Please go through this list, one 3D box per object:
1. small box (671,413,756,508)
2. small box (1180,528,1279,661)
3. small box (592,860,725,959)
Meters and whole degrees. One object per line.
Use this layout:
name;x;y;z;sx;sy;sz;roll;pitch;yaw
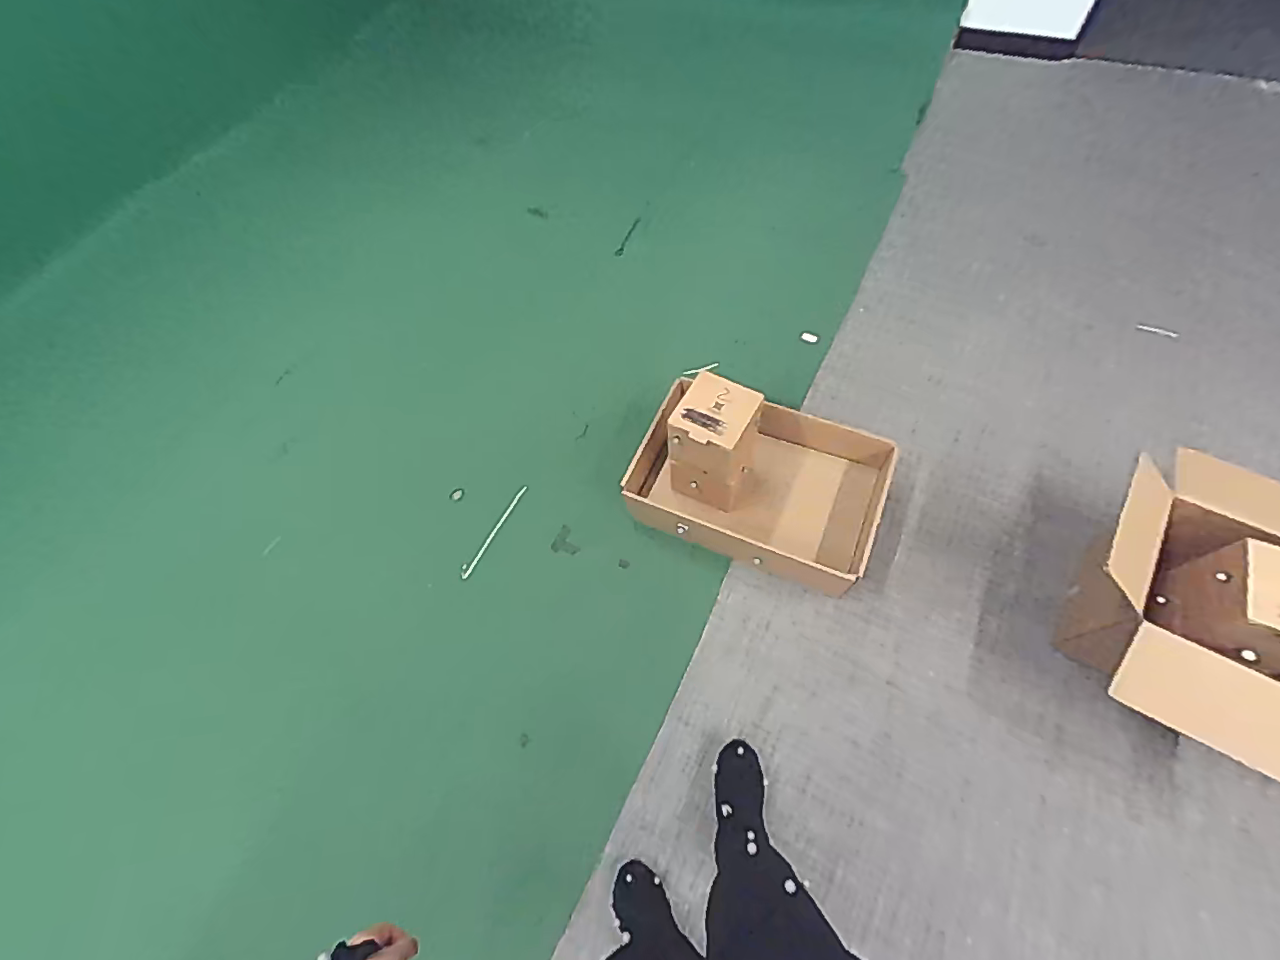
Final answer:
small box;0.196;-0.047;1.458;0.179;0.176;0.168;21;66;16
small box;1.205;0.226;1.048;0.168;0.176;0.179;19;66;19
small box;0.041;0.870;1.037;0.176;0.168;0.179;35;43;-6
